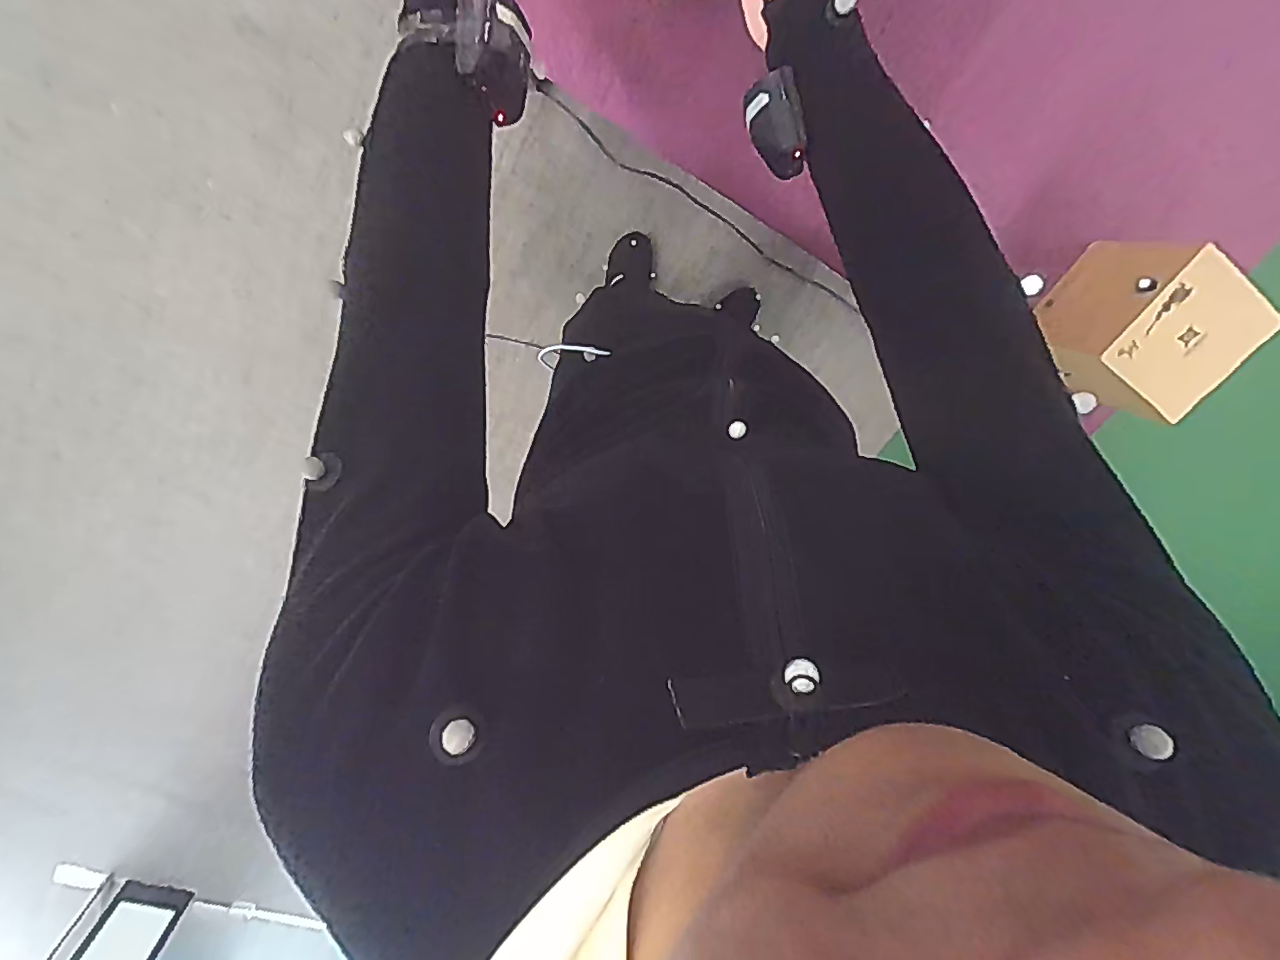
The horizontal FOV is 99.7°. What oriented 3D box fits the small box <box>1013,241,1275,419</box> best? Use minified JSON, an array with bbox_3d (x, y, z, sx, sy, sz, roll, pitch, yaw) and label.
[{"bbox_3d":[0.690,-0.218,0.762,0.179,0.176,0.168,30,109,-17],"label":"small box"}]
